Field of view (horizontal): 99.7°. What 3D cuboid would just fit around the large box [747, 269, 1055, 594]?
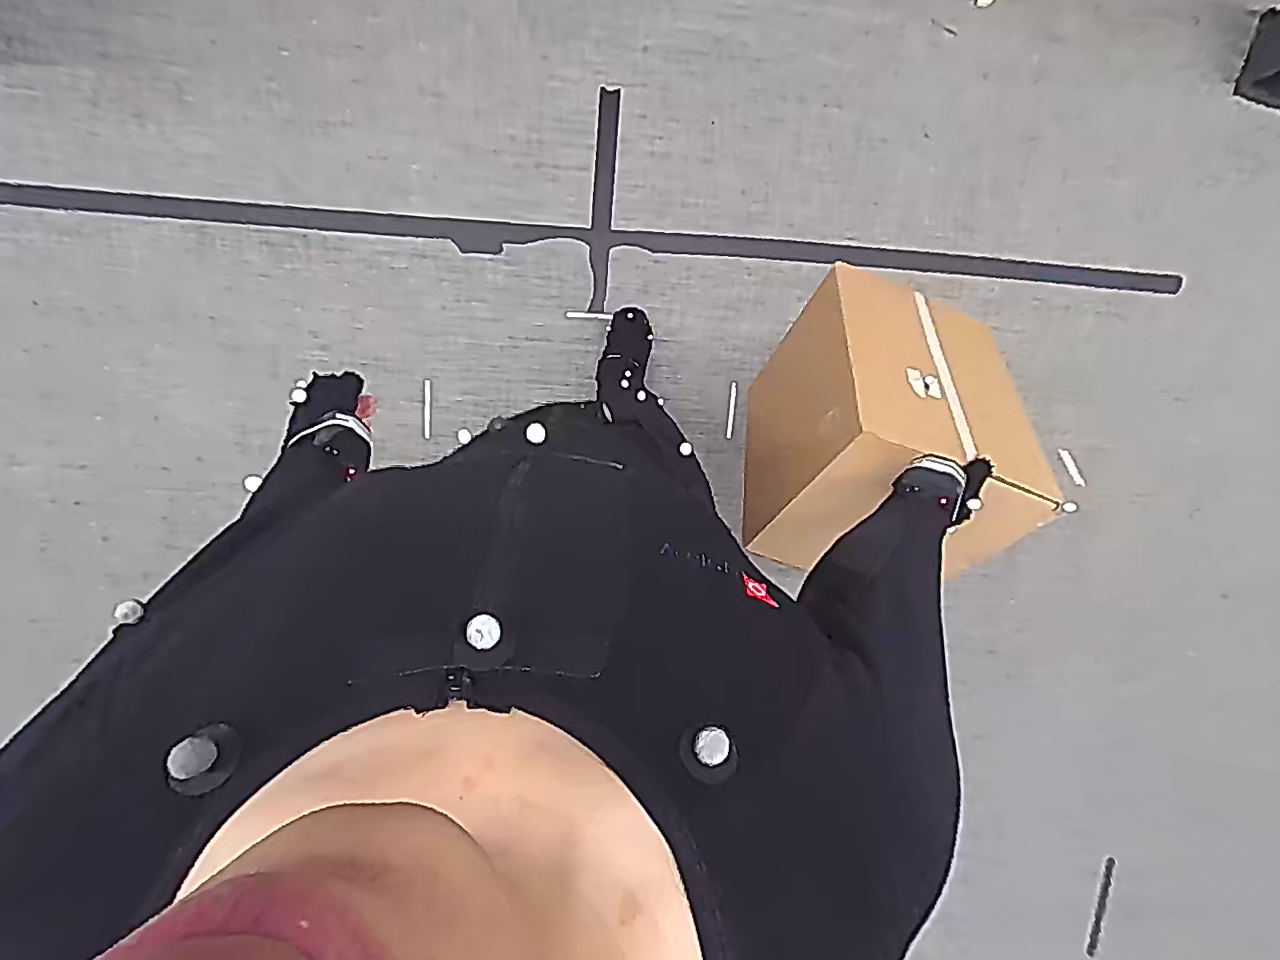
[{"bbox_3d":[0.393,-0.077,0.934,0.320,0.408,0.320,18,141,-10],"label":"large box"}]
